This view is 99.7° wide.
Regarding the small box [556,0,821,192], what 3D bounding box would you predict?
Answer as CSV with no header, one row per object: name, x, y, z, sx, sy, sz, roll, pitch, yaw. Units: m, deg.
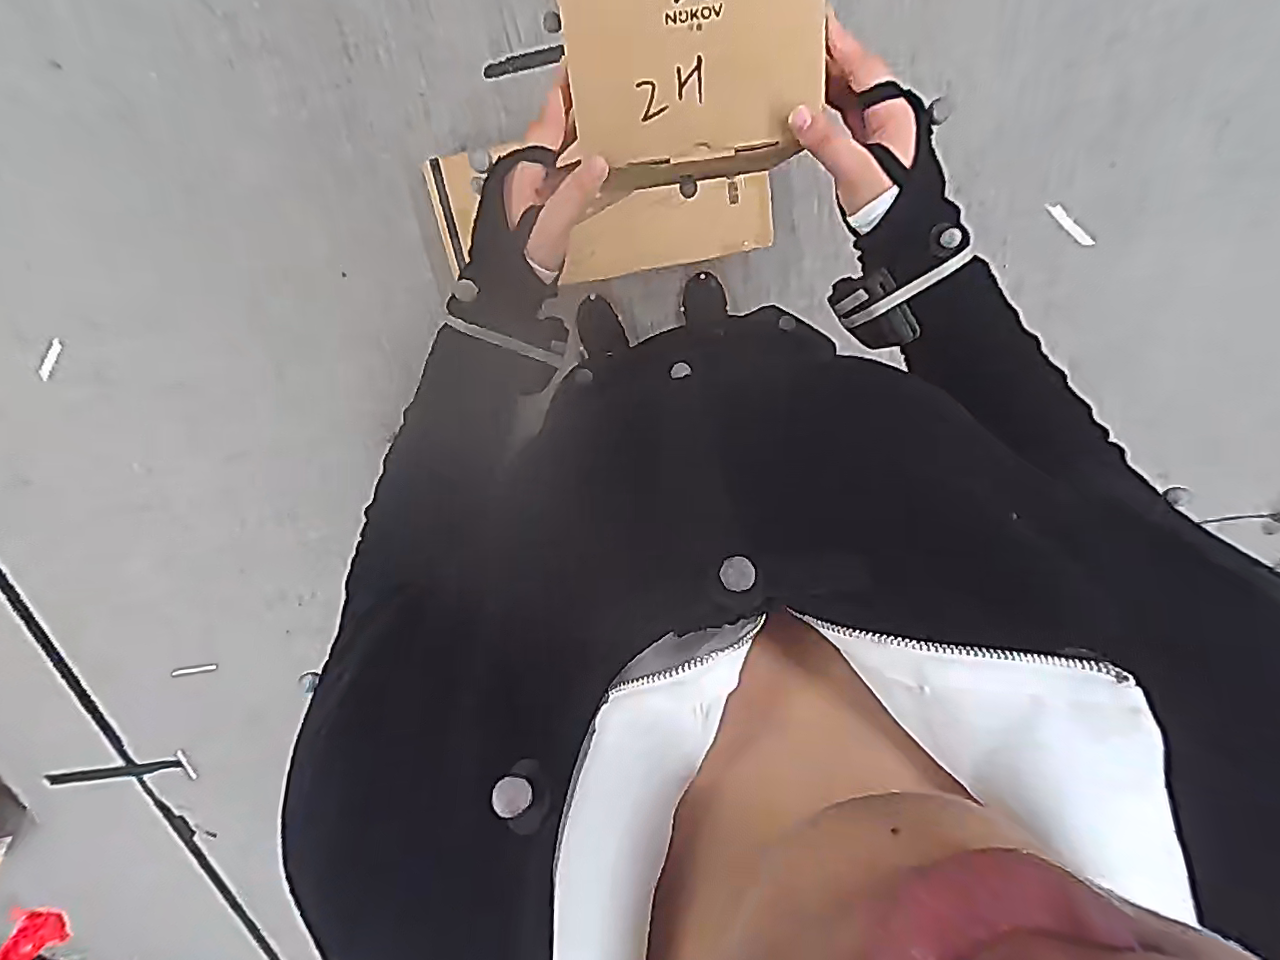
small box,0.028,-0.330,0.403,0.168,0.176,0.179,-6,113,3
